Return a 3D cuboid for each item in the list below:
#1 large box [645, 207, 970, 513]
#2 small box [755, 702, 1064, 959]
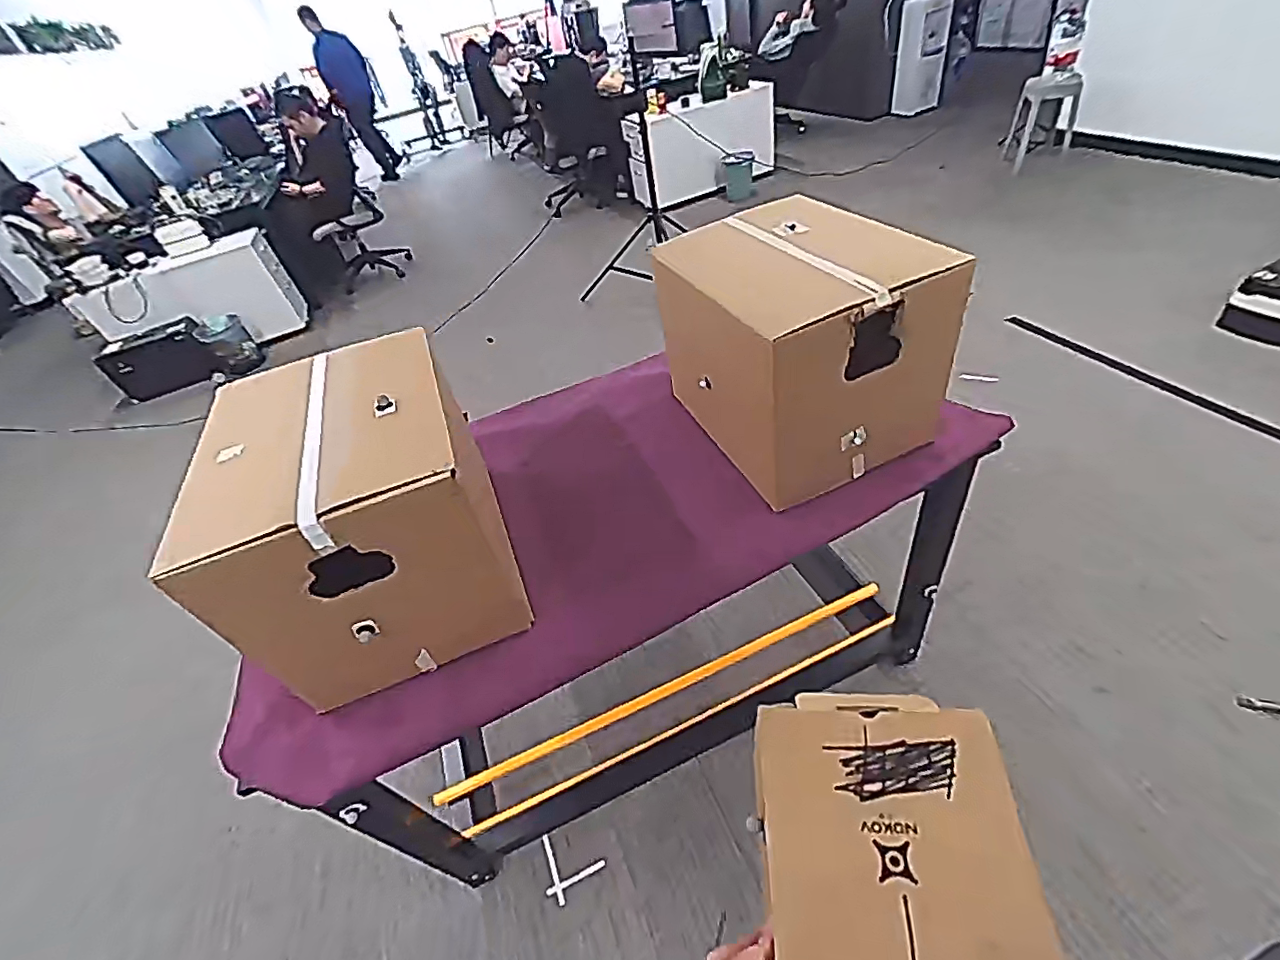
[{"bbox_3d":[0.251,-0.219,0.917,0.320,0.320,0.408,-23,42,-10],"label":"large box"},{"bbox_3d":[0.179,0.288,0.419,0.168,0.176,0.179,-3,52,9],"label":"small box"}]
